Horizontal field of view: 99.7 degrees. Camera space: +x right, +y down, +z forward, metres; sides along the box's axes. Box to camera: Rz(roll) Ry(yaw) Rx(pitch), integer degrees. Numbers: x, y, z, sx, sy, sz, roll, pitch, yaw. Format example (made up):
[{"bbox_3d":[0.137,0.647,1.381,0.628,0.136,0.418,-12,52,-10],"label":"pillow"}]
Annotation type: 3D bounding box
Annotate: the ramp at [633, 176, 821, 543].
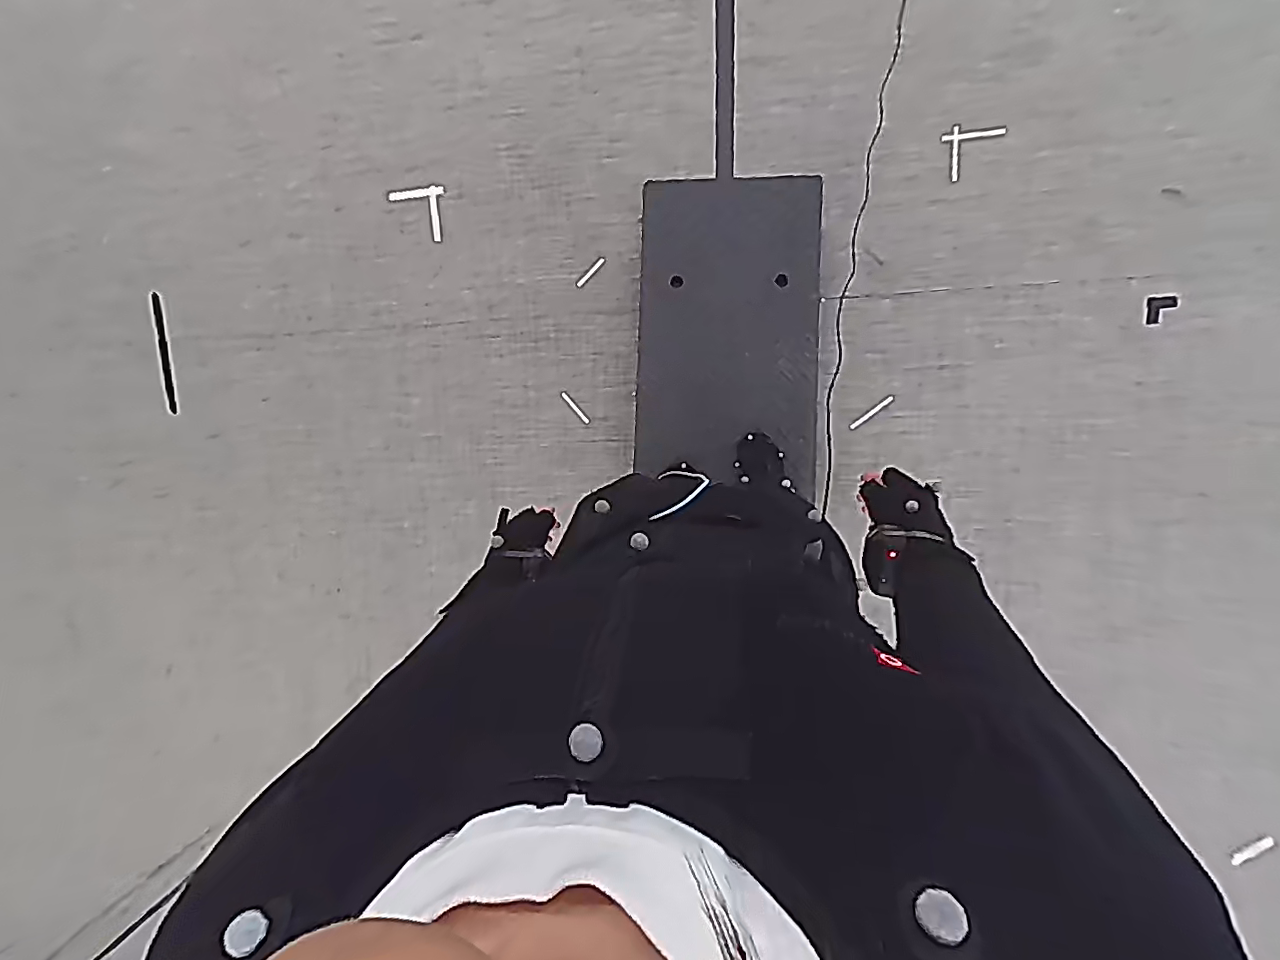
[{"bbox_3d":[0.235,-0.335,1.477,0.509,0.206,0.991,0,97,8],"label":"ramp"}]
